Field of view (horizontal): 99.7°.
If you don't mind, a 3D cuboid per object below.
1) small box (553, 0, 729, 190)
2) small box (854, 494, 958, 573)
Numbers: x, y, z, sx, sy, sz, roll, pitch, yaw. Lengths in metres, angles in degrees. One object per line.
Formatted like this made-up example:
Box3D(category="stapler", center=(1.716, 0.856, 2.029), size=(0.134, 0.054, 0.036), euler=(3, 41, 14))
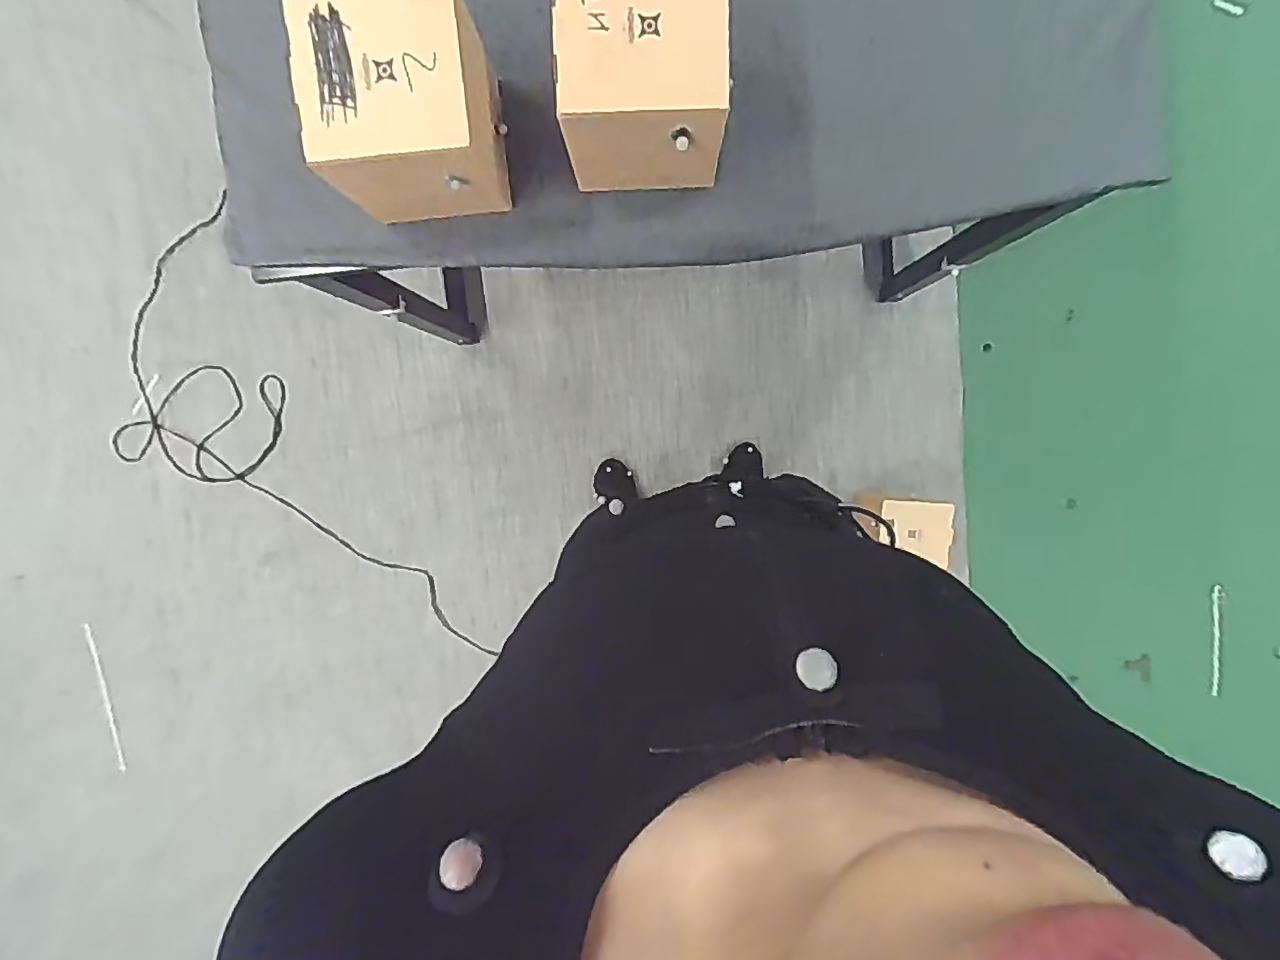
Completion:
Box3D(category="small box", center=(0.003, -0.450, 0.613), size=(0.179, 0.176, 0.168), euler=(0, 94, 3))
Box3D(category="small box", center=(0.671, 0.130, 1.383), size=(0.179, 0.176, 0.168), euler=(4, 97, 2))
